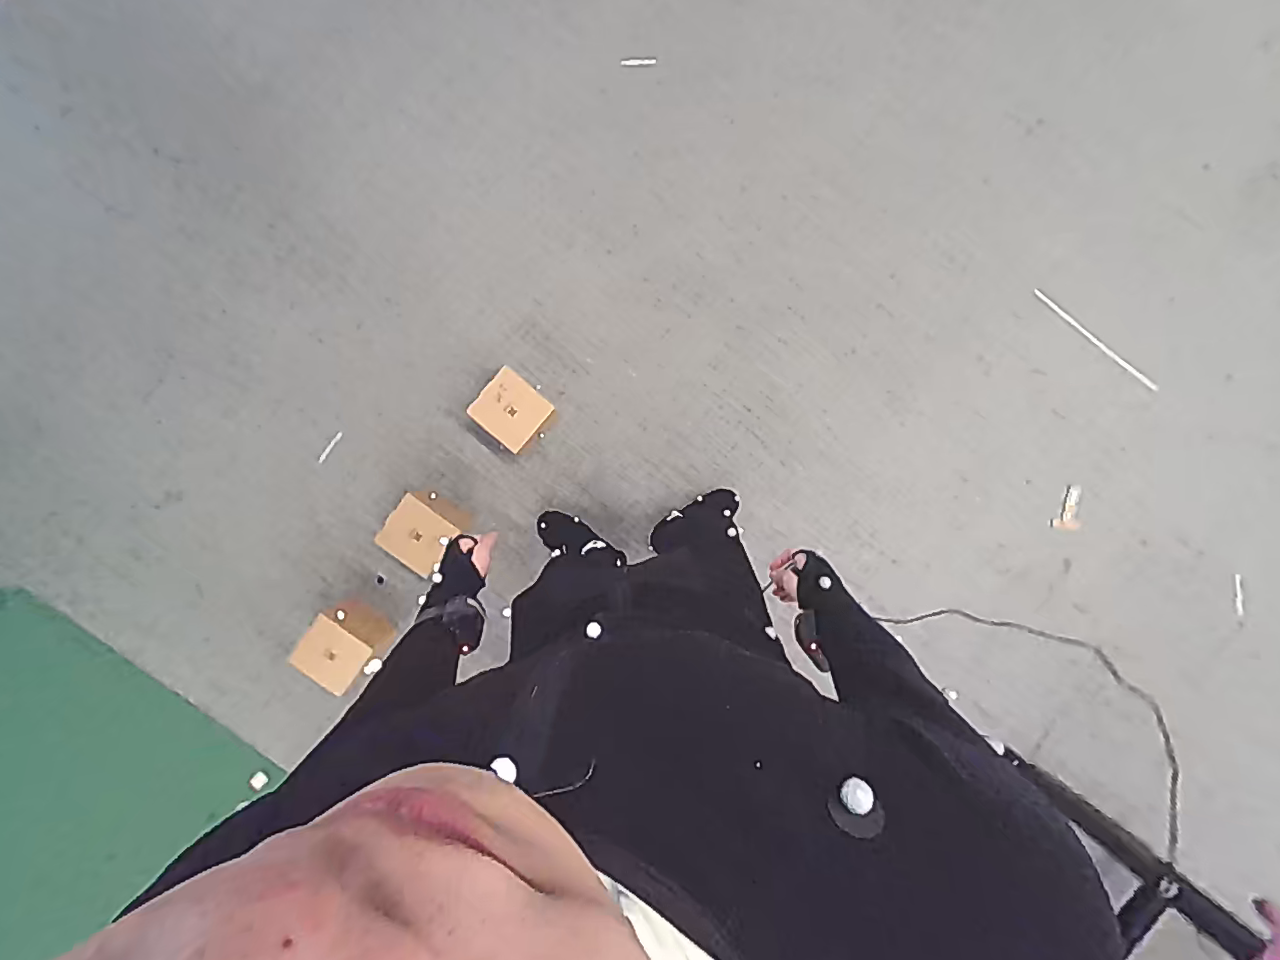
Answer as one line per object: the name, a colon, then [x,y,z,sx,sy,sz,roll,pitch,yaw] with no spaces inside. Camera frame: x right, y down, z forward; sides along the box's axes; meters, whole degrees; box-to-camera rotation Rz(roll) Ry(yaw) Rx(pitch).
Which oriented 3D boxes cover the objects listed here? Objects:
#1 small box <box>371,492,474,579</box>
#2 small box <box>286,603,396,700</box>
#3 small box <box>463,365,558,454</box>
small box: [-0.594,0.147,1.502,0.179,0.176,0.168,36,92,-3]
small box: [-0.826,0.471,1.516,0.179,0.176,0.168,36,93,-2]
small box: [-0.345,-0.190,1.484,0.179,0.176,0.168,40,91,-4]
